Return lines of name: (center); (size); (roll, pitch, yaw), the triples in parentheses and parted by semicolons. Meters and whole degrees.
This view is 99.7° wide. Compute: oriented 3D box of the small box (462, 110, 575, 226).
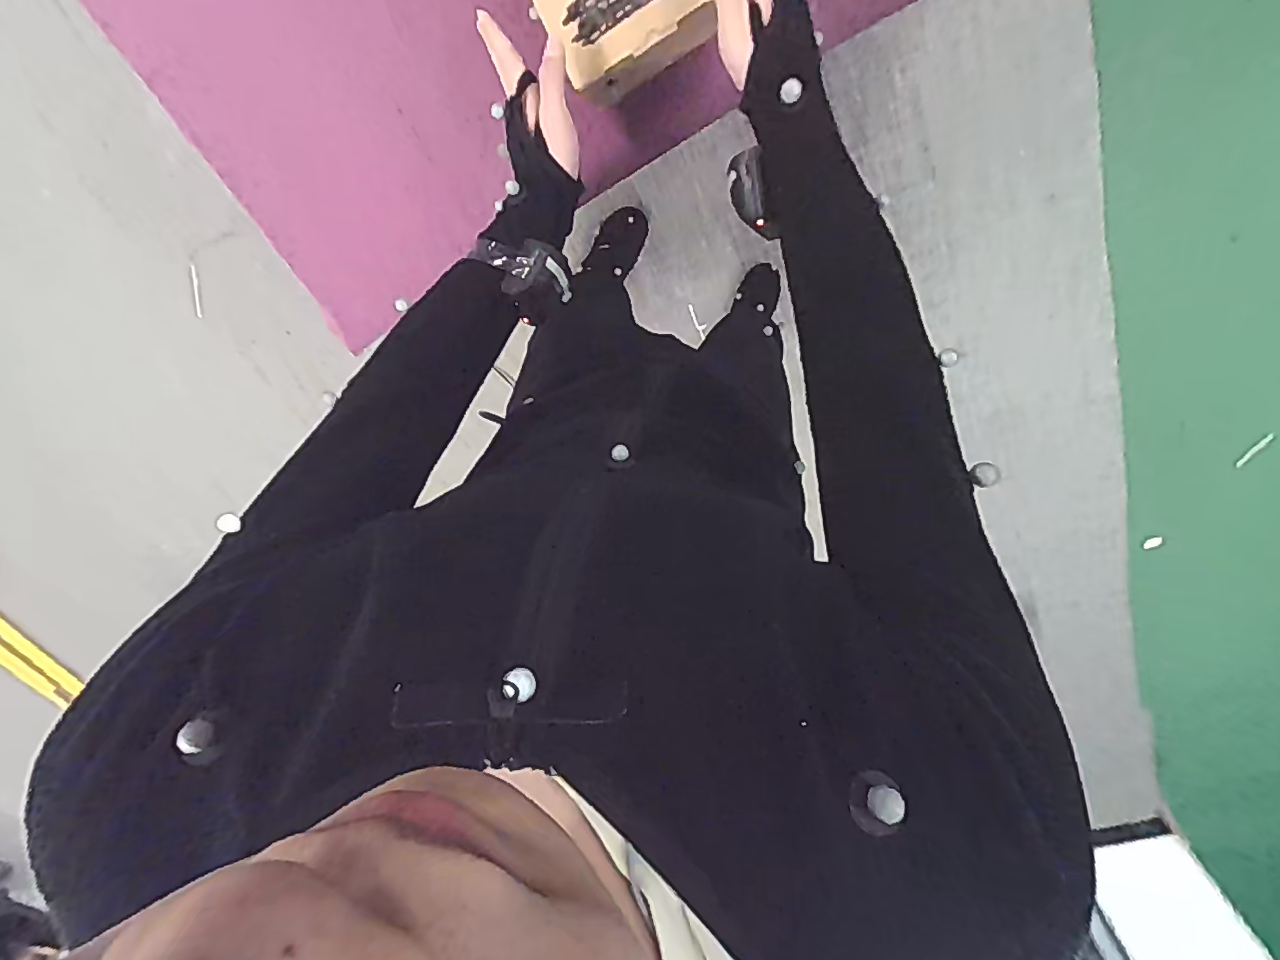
small box: (-0.270, -0.712, 1.244); (0.179, 0.176, 0.168); (-24, 116, 16)

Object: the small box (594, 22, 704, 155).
small box: (0.023, -0.826, 1.158); (0.179, 0.176, 0.168); (-23, 116, 16)
